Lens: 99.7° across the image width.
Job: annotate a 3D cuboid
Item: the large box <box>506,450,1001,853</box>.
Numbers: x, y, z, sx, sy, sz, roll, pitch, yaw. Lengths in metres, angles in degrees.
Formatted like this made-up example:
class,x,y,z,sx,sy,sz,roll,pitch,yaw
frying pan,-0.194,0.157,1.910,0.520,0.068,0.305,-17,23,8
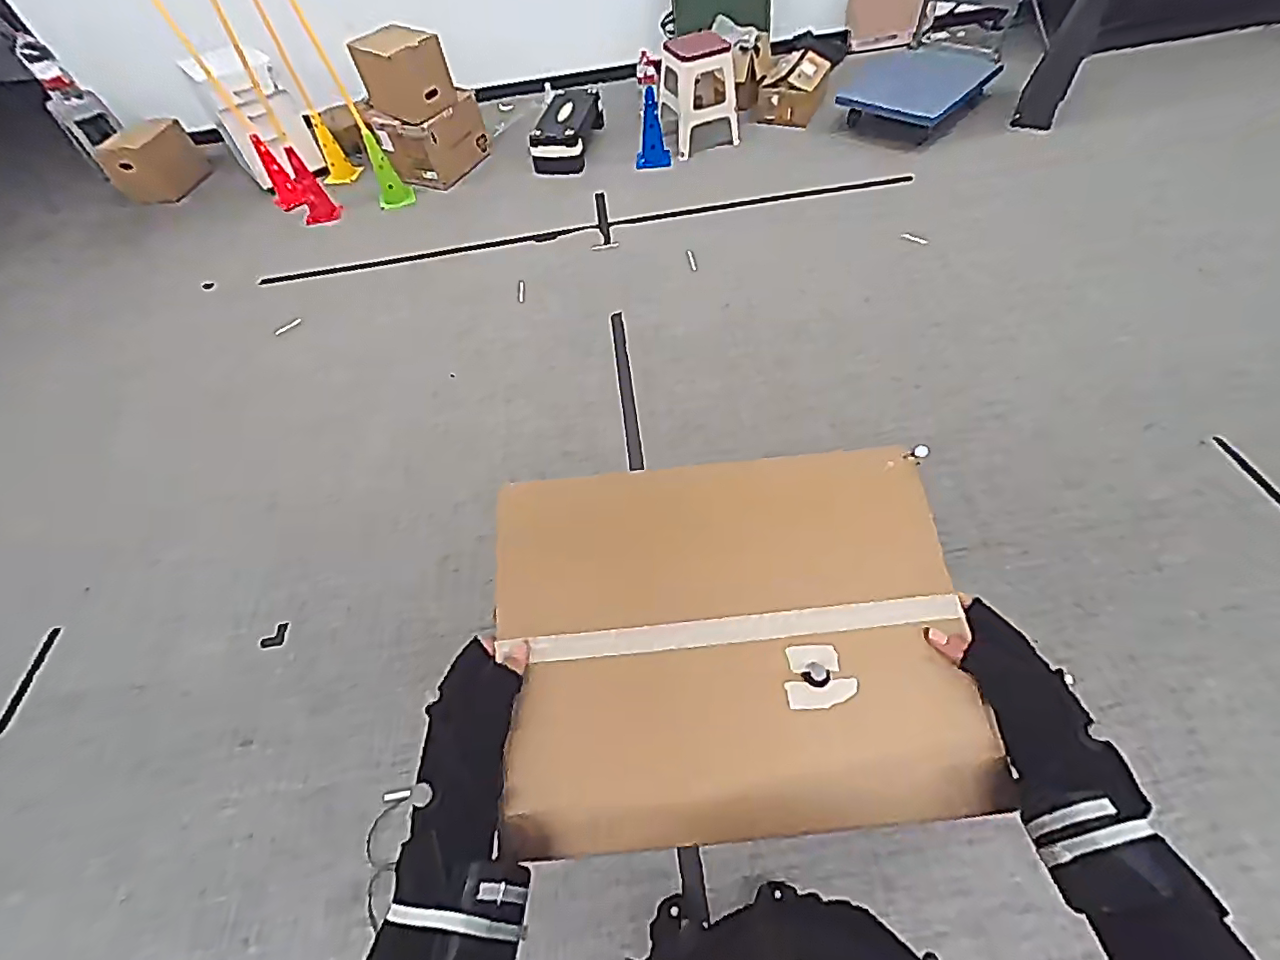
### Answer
class,x,y,z,sx,sy,sz,roll,pitch,yaw
large box,0.083,0.189,0.624,0.408,0.320,0.320,-6,68,-1
